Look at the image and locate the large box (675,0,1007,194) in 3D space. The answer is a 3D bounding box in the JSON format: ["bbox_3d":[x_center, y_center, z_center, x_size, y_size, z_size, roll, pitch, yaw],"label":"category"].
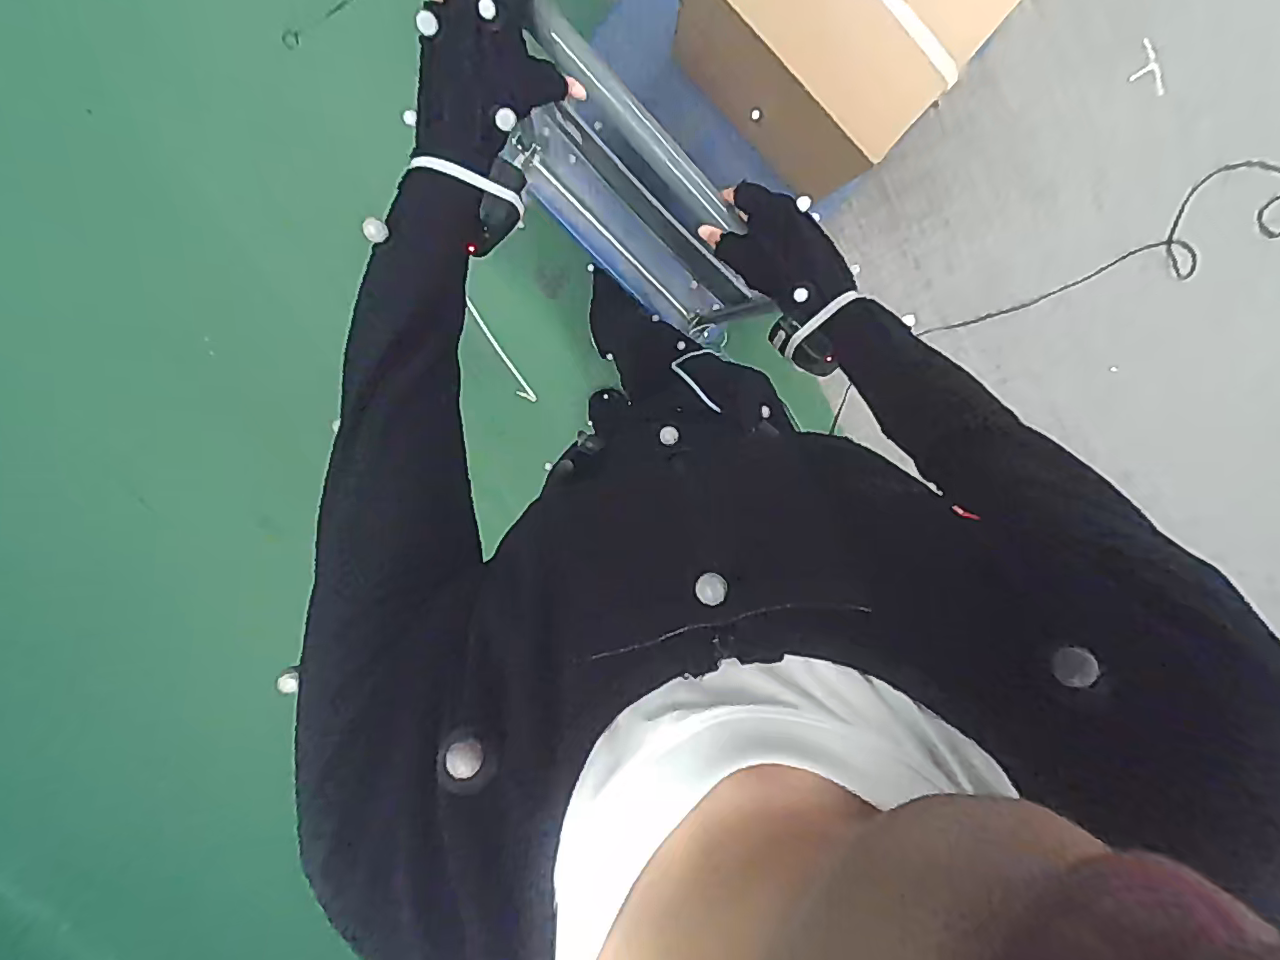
[{"bbox_3d":[0.314,-0.783,0.927,0.408,0.320,0.320,39,101,-11],"label":"large box"}]
